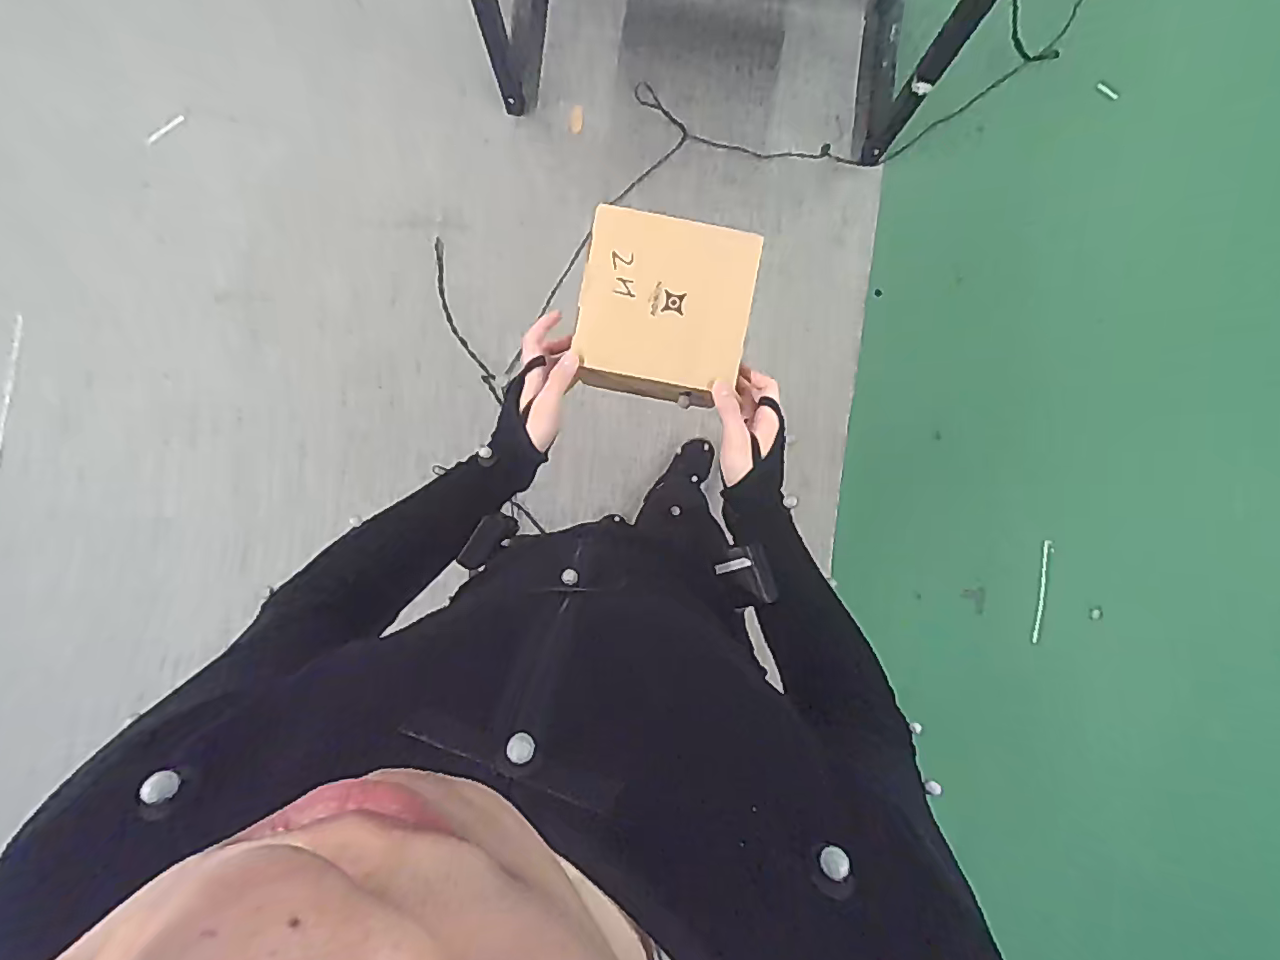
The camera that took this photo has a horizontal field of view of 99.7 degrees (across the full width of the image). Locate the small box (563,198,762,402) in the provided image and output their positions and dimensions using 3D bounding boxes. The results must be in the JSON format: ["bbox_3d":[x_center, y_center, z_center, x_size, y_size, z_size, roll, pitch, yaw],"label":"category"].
[{"bbox_3d":[0.022,-0.190,0.624,0.179,0.176,0.168,11,92,0],"label":"small box"}]
